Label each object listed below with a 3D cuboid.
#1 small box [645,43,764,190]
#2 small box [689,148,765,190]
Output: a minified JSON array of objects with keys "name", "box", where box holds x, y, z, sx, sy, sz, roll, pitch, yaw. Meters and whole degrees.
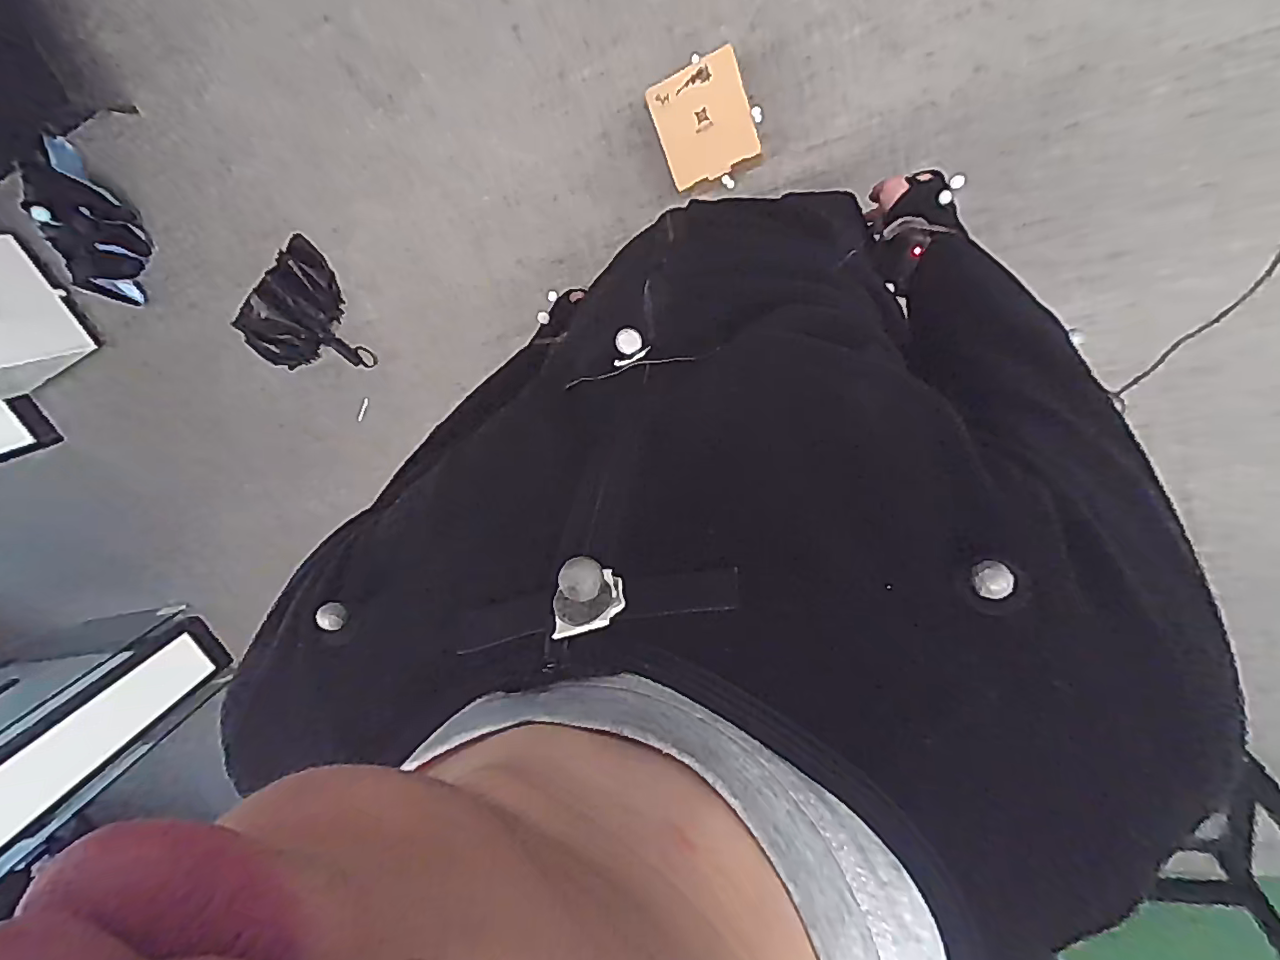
[{"name":"small box","box":[0.132,-0.680,1.032,0.168,0.176,0.179,-15,113,23]},{"name":"small box","box":[0.167,-0.752,1.174,0.168,0.176,0.179,-17,112,23]}]
